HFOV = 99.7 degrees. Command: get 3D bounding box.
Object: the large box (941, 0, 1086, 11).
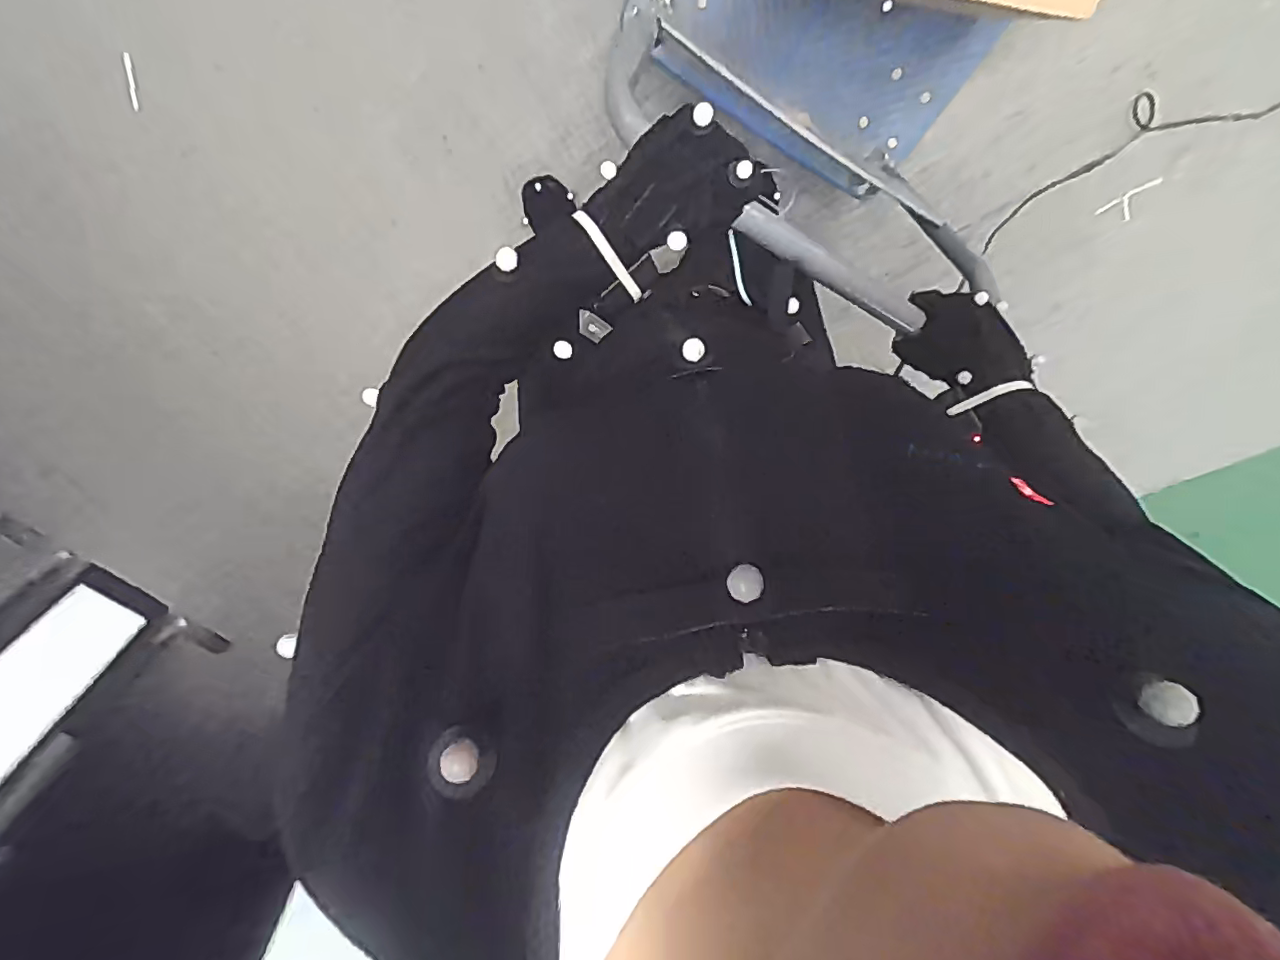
[{"bbox_3d":[0.381,-0.818,0.674,0.408,0.320,0.320,8,131,-2],"label":"large box"}]
